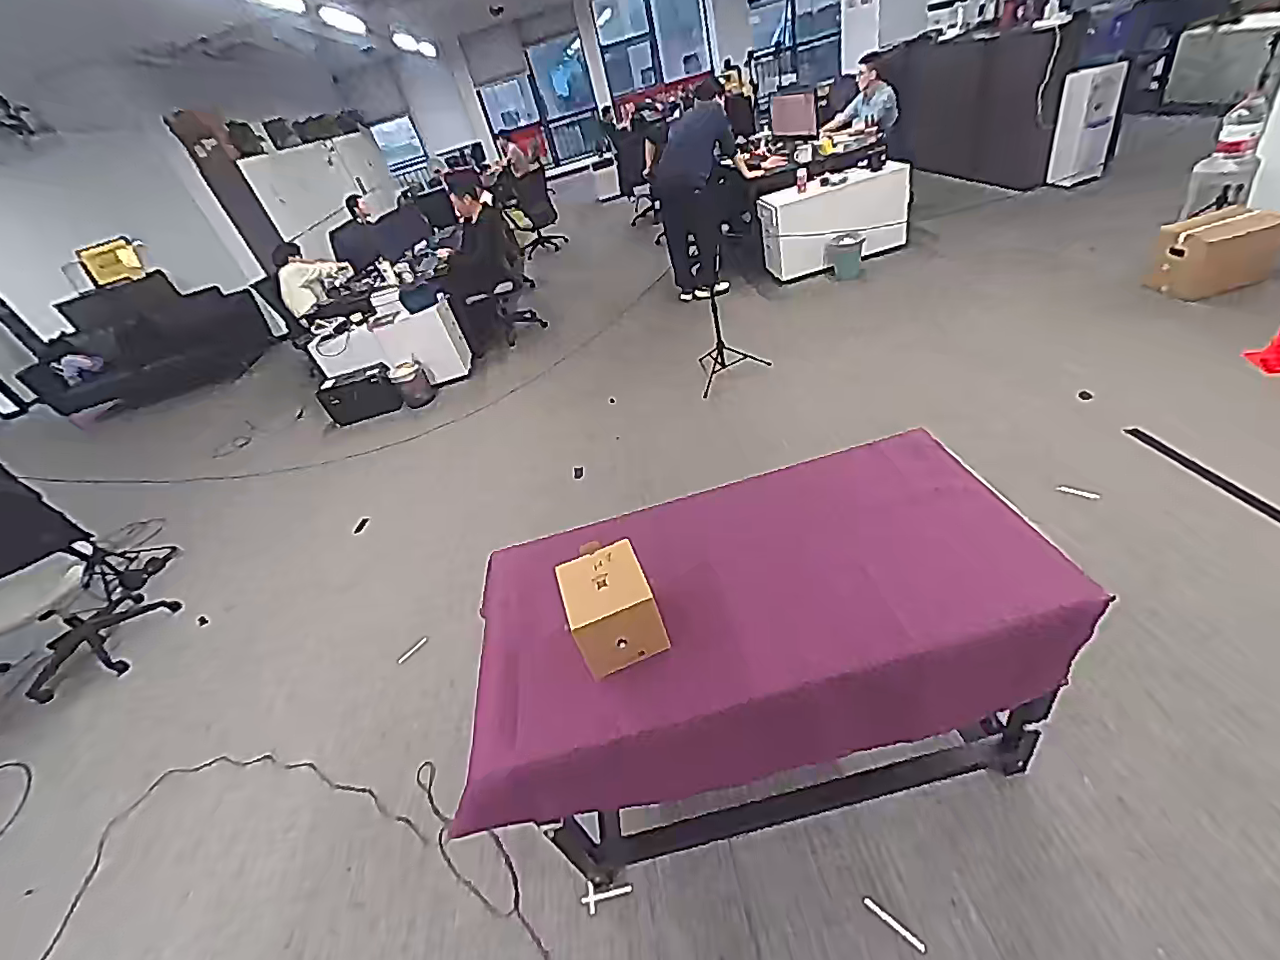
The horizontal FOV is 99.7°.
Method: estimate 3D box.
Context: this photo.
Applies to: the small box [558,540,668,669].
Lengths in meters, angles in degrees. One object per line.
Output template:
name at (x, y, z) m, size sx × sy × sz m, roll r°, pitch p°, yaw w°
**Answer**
small box at (-0.054, 0.262, 1.112) m, size 0.168 × 0.176 × 0.179 m, roll -21°, pitch 37°, yaw -6°
